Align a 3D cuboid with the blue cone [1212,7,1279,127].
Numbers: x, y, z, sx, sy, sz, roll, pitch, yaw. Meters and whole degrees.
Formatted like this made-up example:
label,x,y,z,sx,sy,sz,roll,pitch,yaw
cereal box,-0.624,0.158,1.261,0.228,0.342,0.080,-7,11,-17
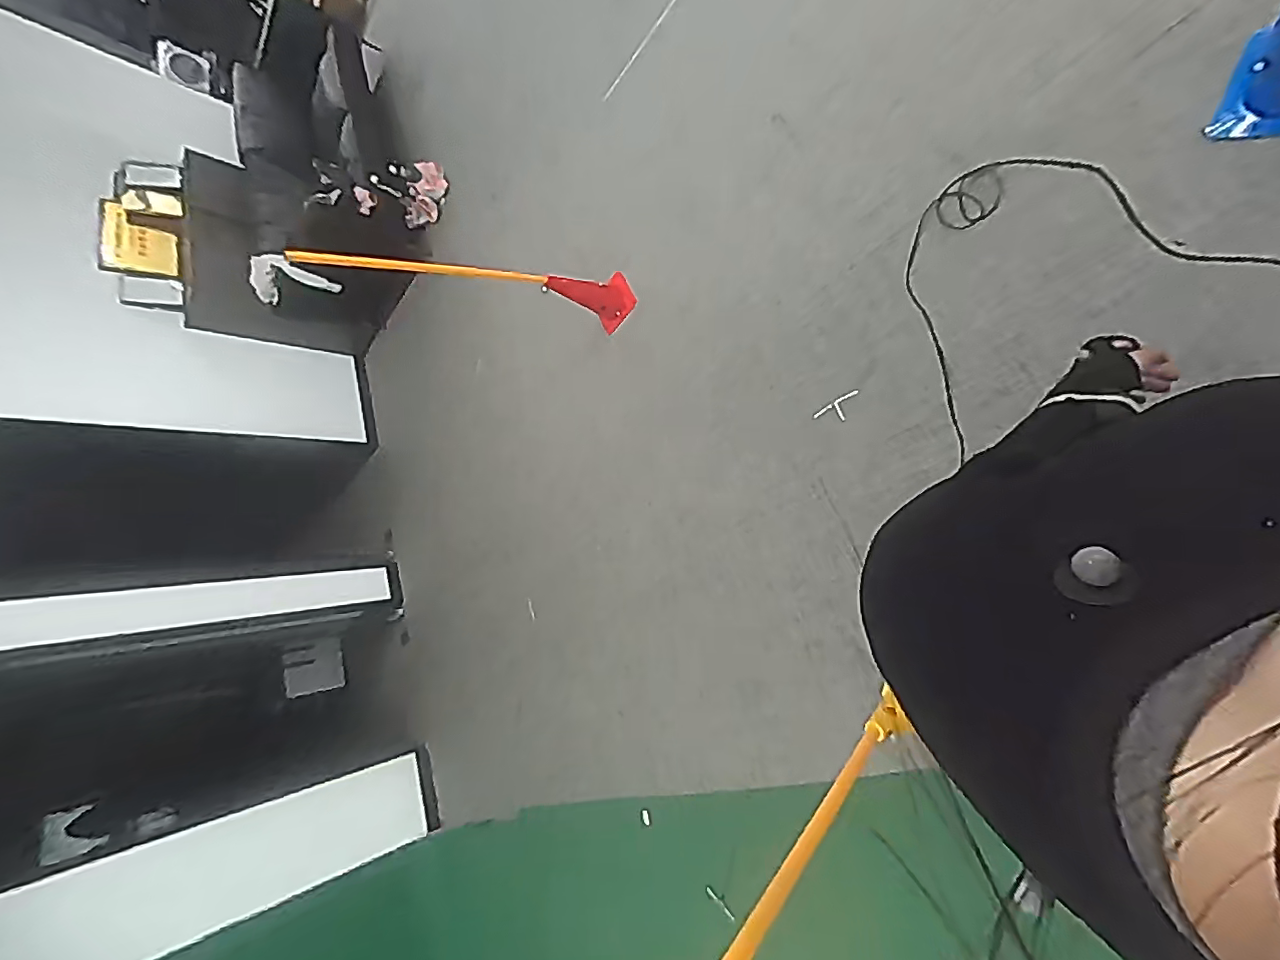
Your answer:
label,x,y,z,sx,sy,sz,roll,pitch,yaw
blue cone,1.081,-0.757,0.866,0.192,0.380,0.193,26,104,42
